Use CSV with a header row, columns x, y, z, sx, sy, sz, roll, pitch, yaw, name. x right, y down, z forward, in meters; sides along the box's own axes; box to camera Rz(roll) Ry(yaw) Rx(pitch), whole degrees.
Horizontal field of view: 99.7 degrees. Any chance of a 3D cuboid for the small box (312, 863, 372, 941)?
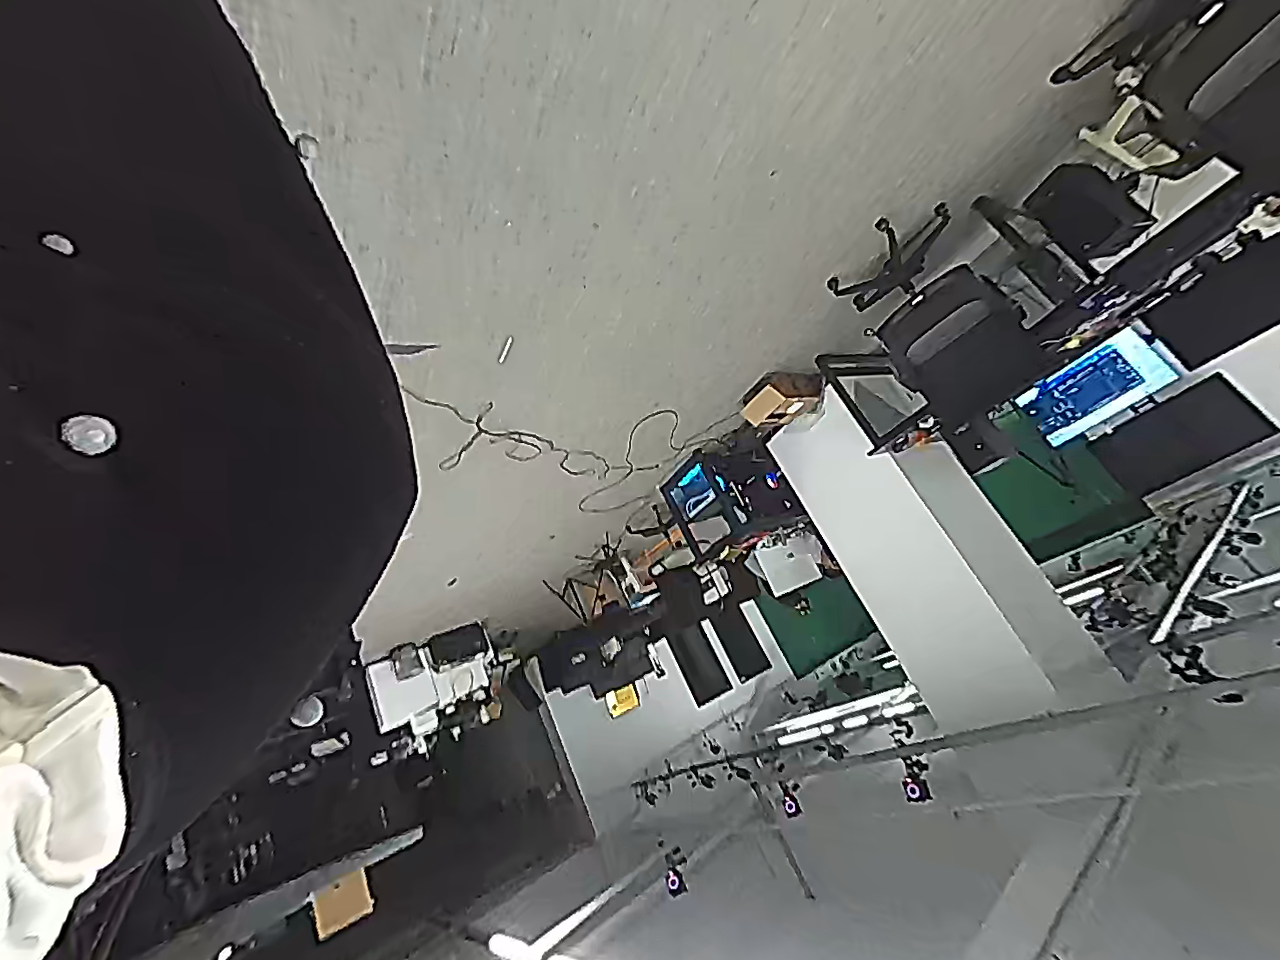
x,y,z,sx,sy,sz,roll,pitch,yaw,name
-1.132,1.591,2.045,0.179,0.176,0.168,-11,155,-36,small box
